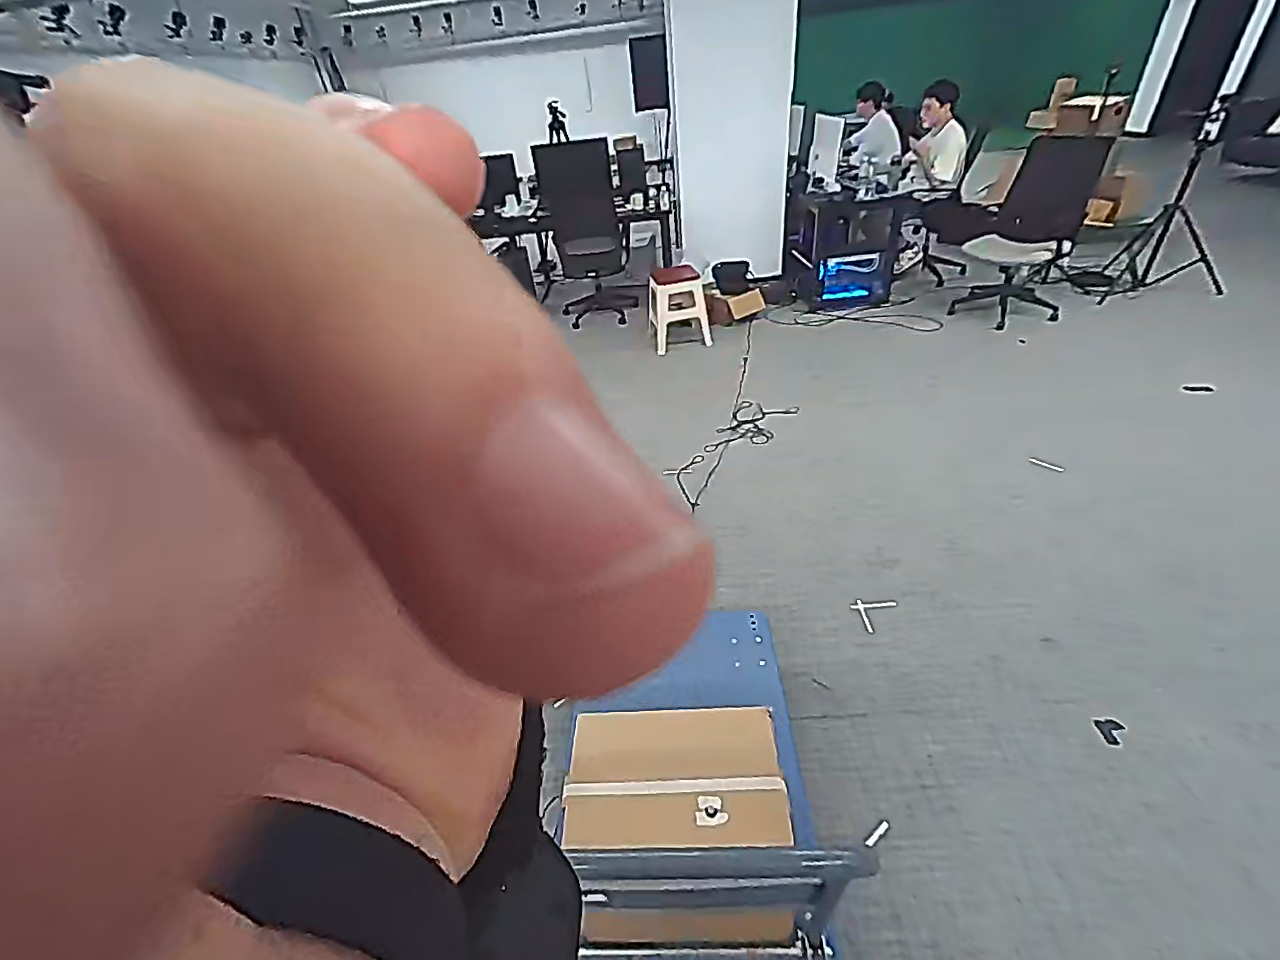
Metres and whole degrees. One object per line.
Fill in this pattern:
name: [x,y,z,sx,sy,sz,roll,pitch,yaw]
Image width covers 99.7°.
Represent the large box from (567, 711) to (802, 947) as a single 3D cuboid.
large box: [0.084,0.708,1.103,0.408,0.320,0.320,-4,37,4]
